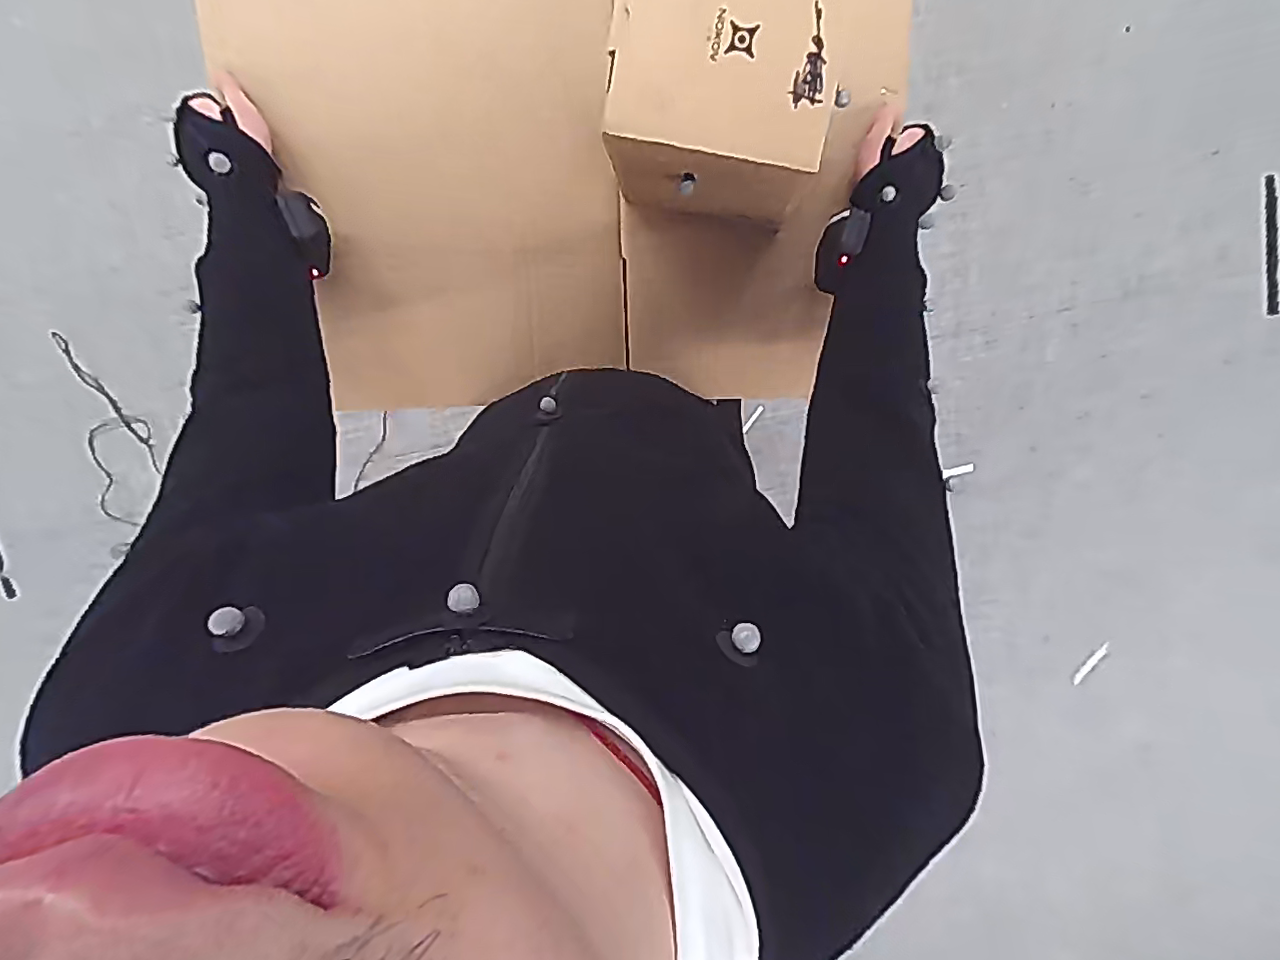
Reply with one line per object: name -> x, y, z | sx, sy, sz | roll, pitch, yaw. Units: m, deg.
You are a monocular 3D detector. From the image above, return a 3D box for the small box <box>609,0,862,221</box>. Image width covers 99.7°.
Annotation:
small box -> 0.083, -0.356, 0.494 | 0.179, 0.176, 0.168 | 12, 102, 3
